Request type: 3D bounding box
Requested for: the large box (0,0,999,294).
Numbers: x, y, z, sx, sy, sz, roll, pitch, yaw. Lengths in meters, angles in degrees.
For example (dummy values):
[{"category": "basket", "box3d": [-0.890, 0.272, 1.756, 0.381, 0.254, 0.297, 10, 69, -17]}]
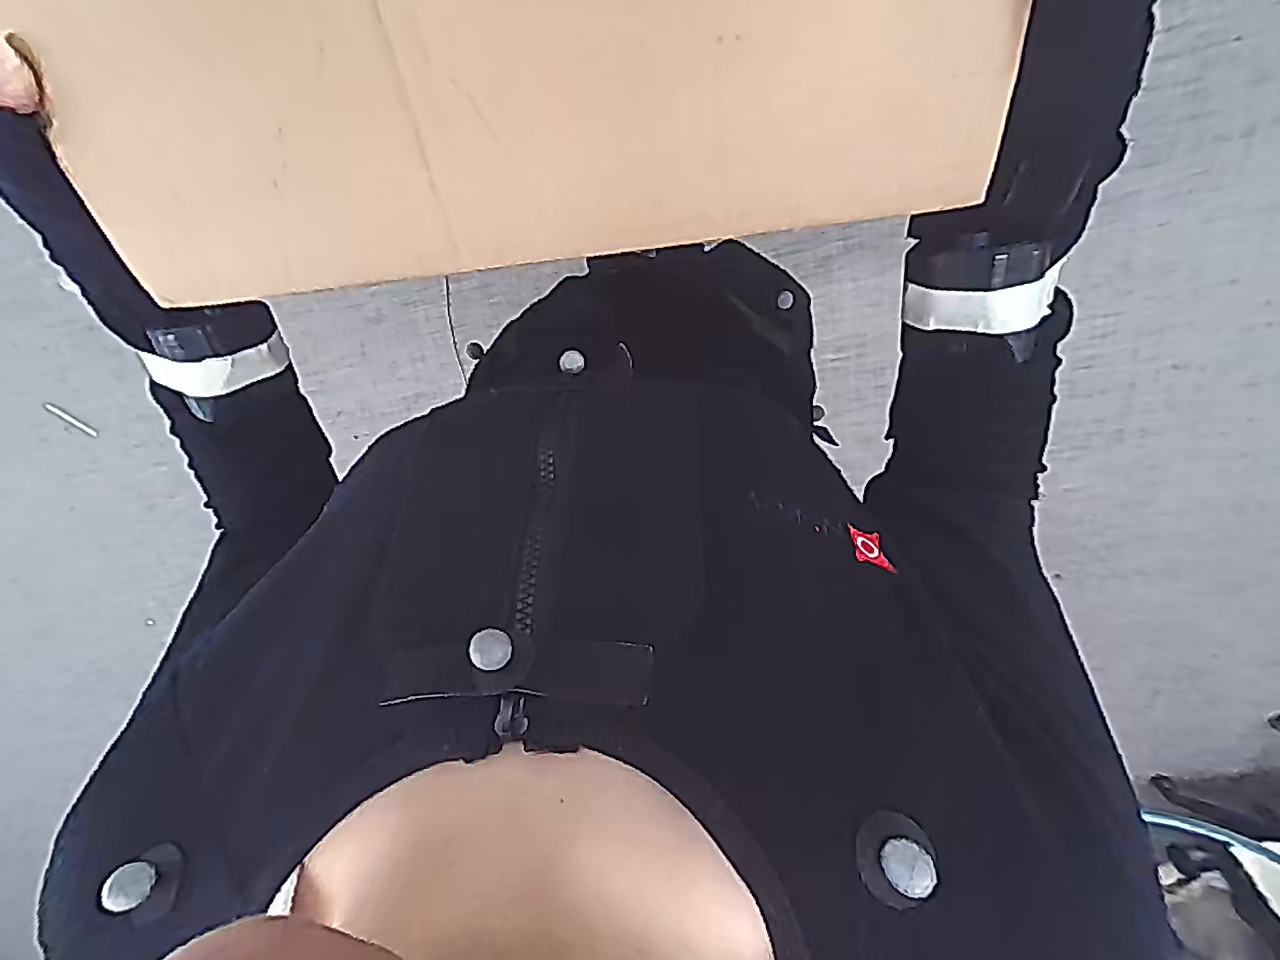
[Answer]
[{"category": "large box", "box3d": [-0.065, -0.329, 0.287, 0.408, 0.320, 0.320, -5, 128, 6]}]
